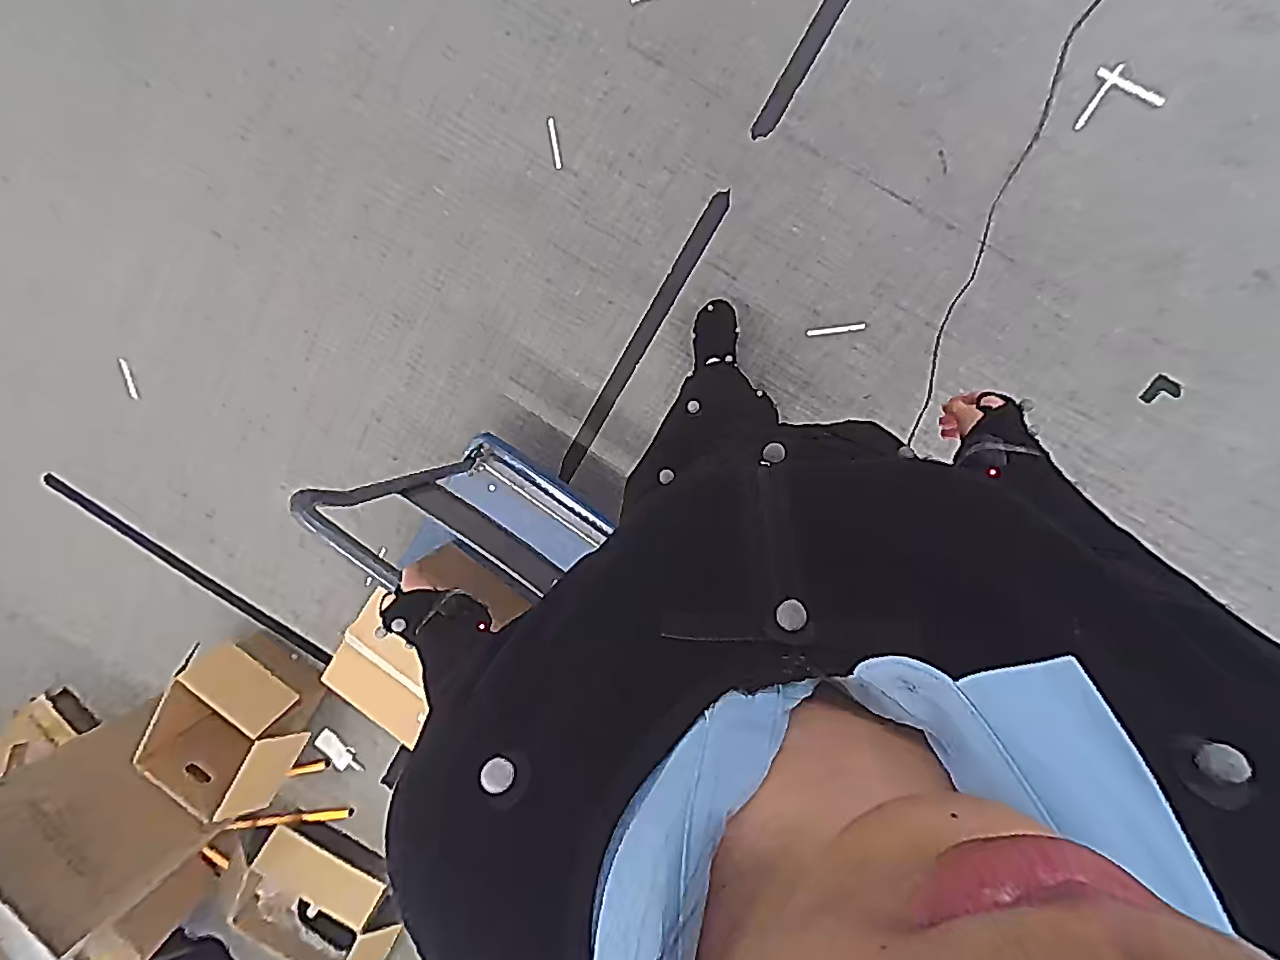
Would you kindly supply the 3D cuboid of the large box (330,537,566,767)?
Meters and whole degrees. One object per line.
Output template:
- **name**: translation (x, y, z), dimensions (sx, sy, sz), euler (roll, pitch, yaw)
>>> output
- **large box**: translation (-0.463, 0.411, 1.373), dimensions (0.408, 0.320, 0.320), euler (36, 106, 0)
